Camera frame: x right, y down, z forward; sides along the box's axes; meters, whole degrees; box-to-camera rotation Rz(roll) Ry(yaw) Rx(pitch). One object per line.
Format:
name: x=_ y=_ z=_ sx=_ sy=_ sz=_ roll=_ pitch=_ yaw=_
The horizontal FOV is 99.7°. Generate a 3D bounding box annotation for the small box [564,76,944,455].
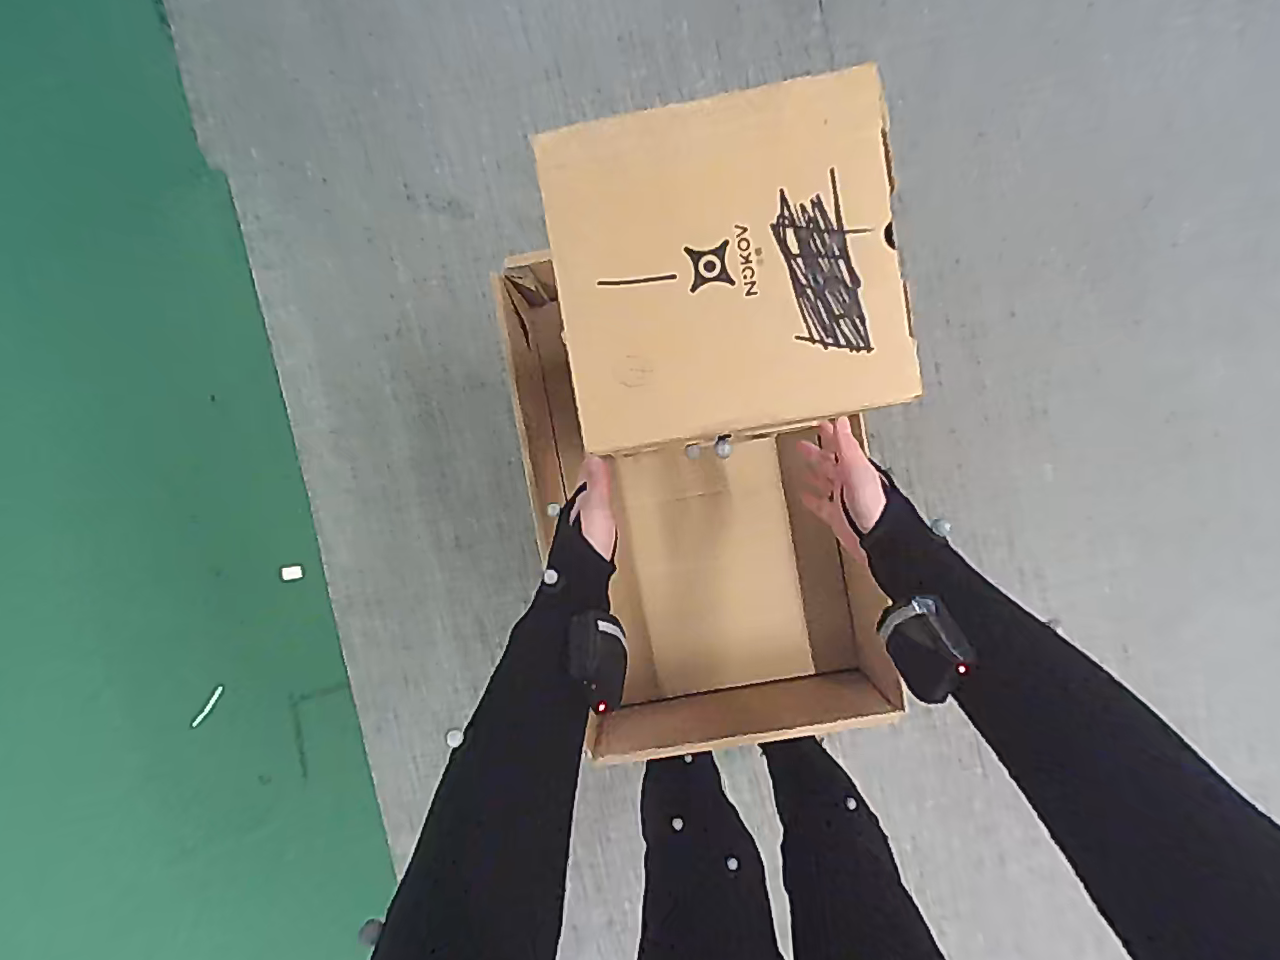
small box: x=0.059 y=-0.110 z=0.350 sx=0.179 sy=0.176 sz=0.168 roll=-9 pitch=92 yaw=2
